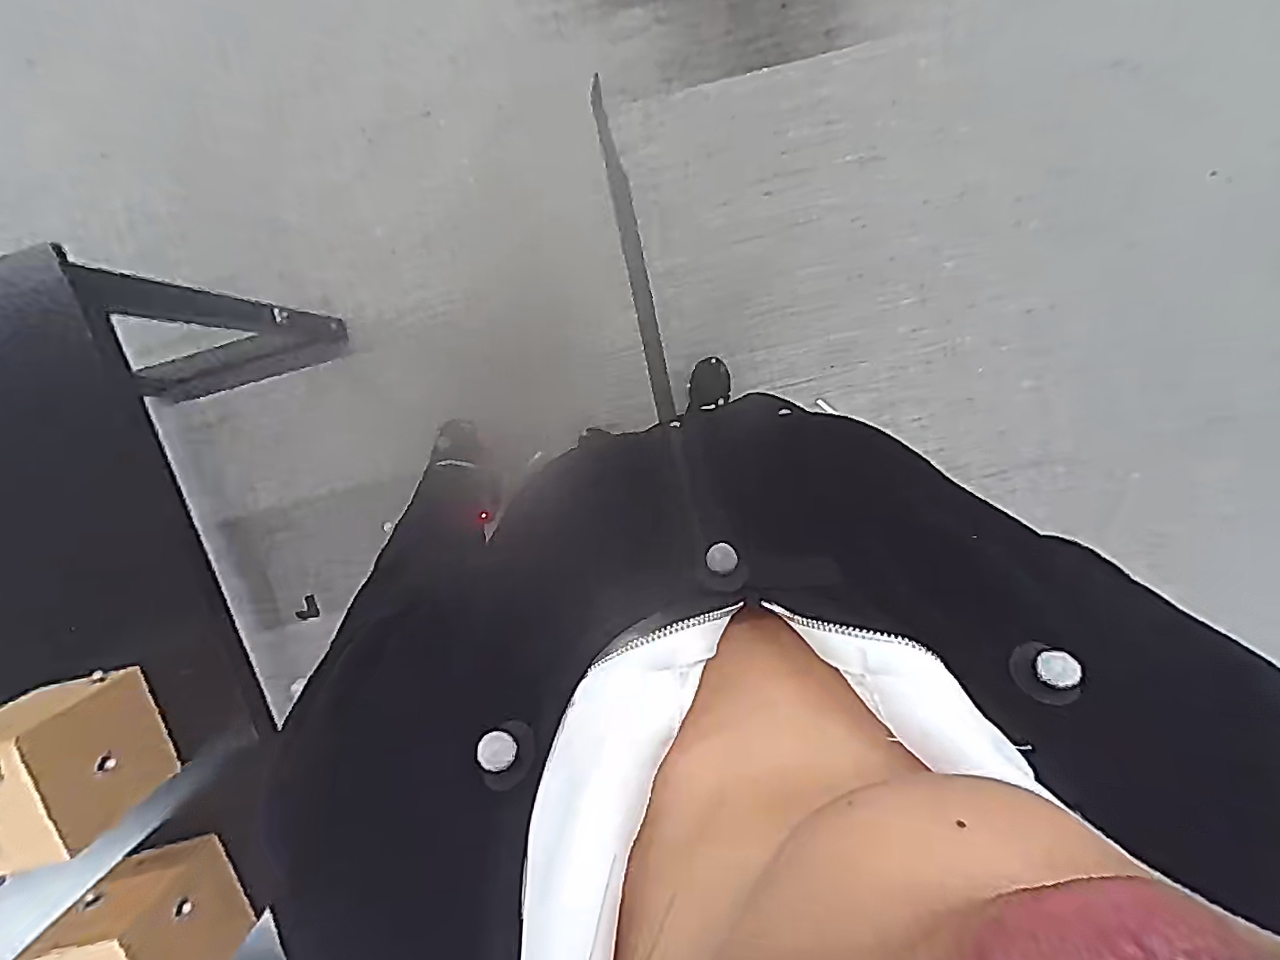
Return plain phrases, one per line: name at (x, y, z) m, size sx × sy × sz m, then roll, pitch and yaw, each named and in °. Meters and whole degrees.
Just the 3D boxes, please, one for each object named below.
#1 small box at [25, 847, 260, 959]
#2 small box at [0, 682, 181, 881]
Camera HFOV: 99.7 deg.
small box at (-0.716, 0.680, 0.793) m, size 0.168 × 0.176 × 0.179 m, roll -17°, pitch 100°, yaw 4°
small box at (-0.800, 0.402, 0.743) m, size 0.168 × 0.176 × 0.179 m, roll -14°, pitch 100°, yaw 3°
